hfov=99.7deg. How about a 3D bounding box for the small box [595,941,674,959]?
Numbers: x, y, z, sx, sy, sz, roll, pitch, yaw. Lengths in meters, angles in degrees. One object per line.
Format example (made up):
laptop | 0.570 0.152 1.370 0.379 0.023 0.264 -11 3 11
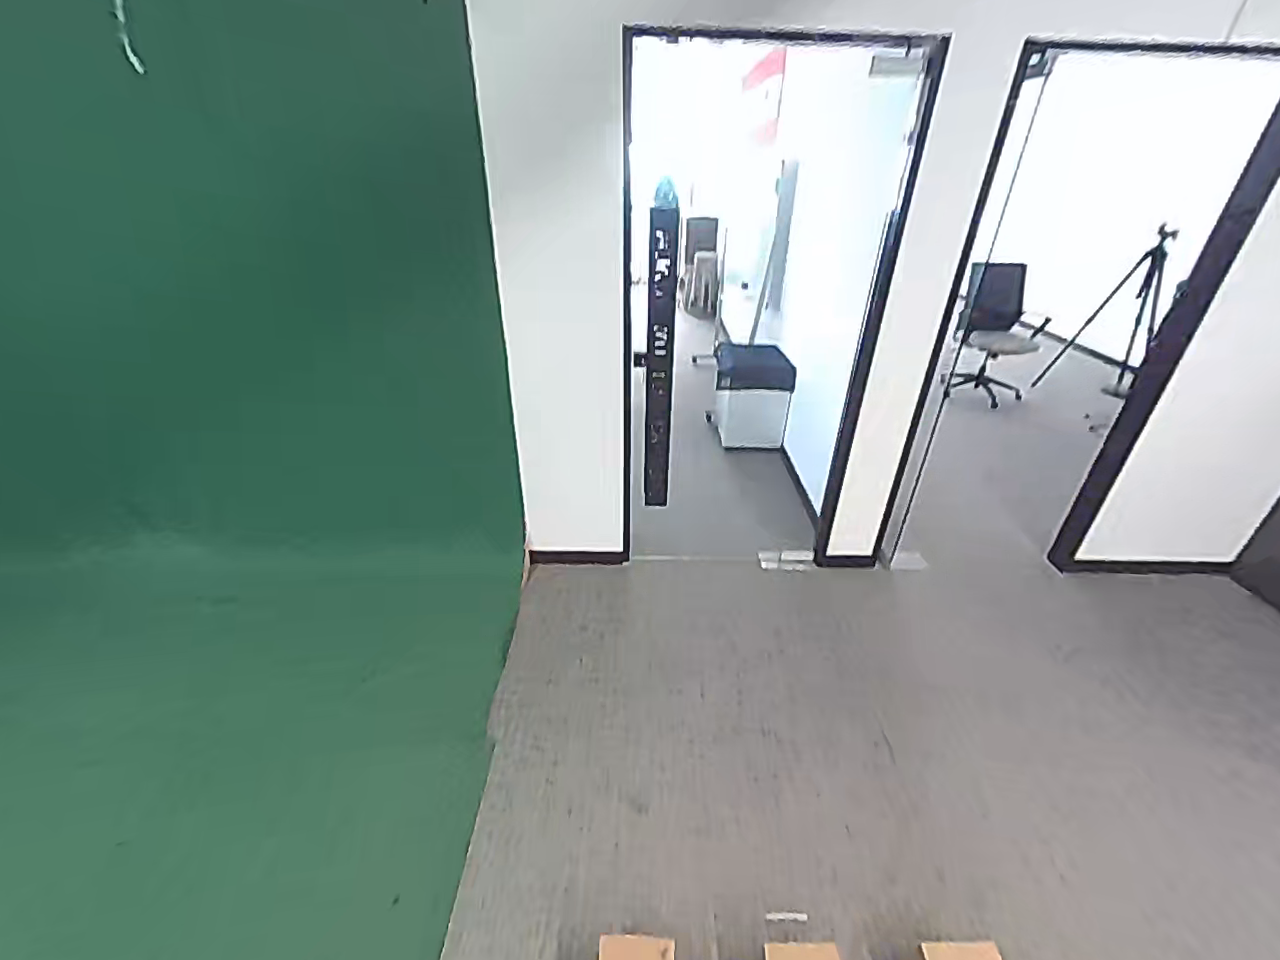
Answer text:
small box | -0.016 1.164 1.195 0.179 0.176 0.168 3 30 3

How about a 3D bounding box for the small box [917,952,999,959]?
small box | 0.719 1.182 1.194 0.179 0.176 0.168 1 30 -1

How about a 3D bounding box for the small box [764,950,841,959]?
small box | 0.361 1.177 1.189 0.179 0.176 0.168 1 29 0
